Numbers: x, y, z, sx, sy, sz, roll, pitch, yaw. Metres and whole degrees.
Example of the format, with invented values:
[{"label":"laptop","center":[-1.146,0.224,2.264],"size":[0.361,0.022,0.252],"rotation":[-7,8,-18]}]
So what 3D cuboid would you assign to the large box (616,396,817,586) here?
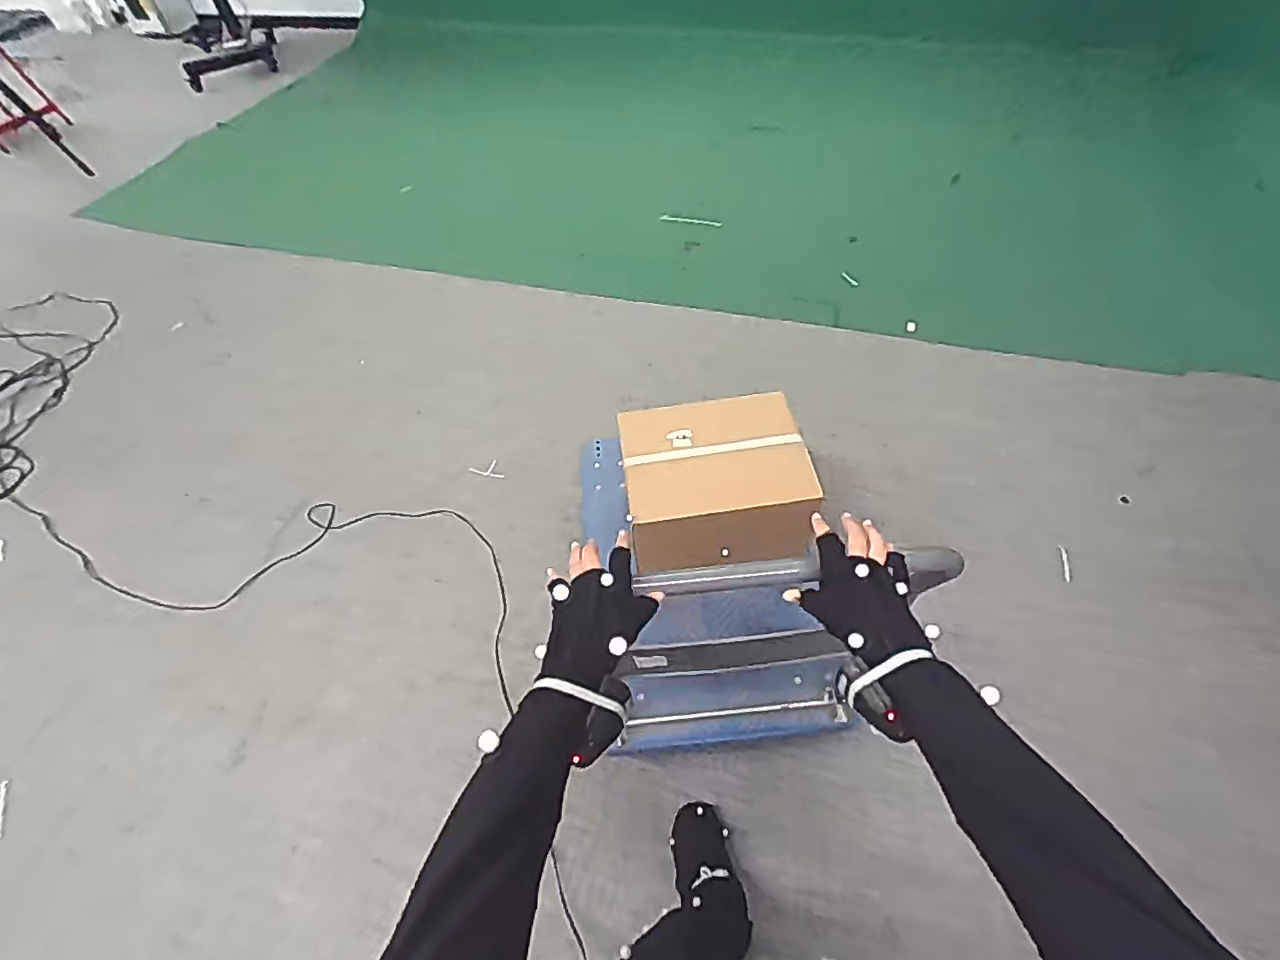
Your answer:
[{"label":"large box","center":[0.170,0.034,1.331],"size":[0.408,0.320,0.320],"rotation":[-9,54,0]}]
